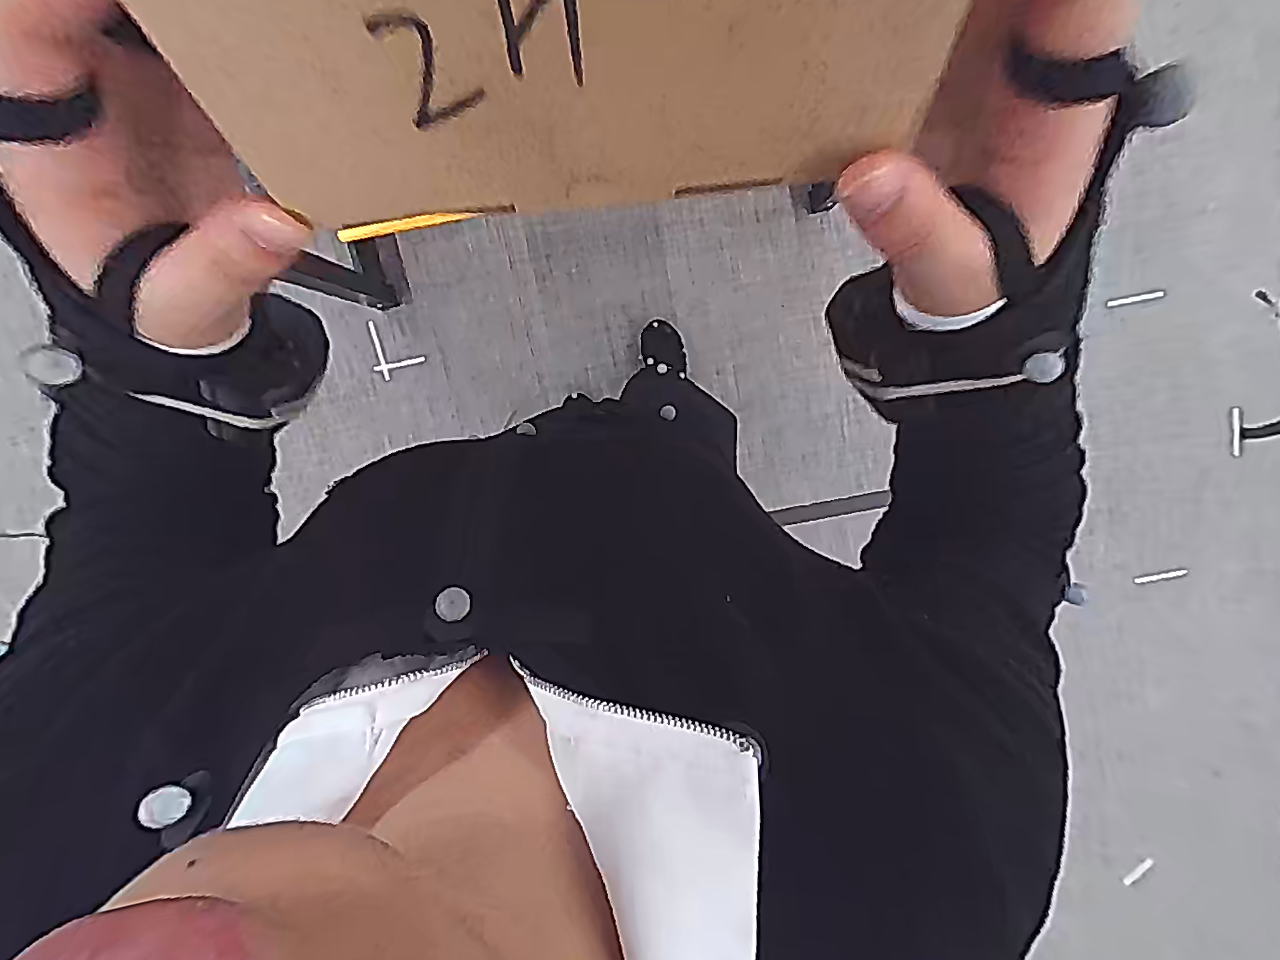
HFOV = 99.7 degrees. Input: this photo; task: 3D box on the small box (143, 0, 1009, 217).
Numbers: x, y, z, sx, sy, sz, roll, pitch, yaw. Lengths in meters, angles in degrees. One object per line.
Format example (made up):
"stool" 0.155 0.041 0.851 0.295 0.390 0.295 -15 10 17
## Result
"small box" -0.015 -0.184 0.098 0.168 0.179 0.176 -3 64 2
